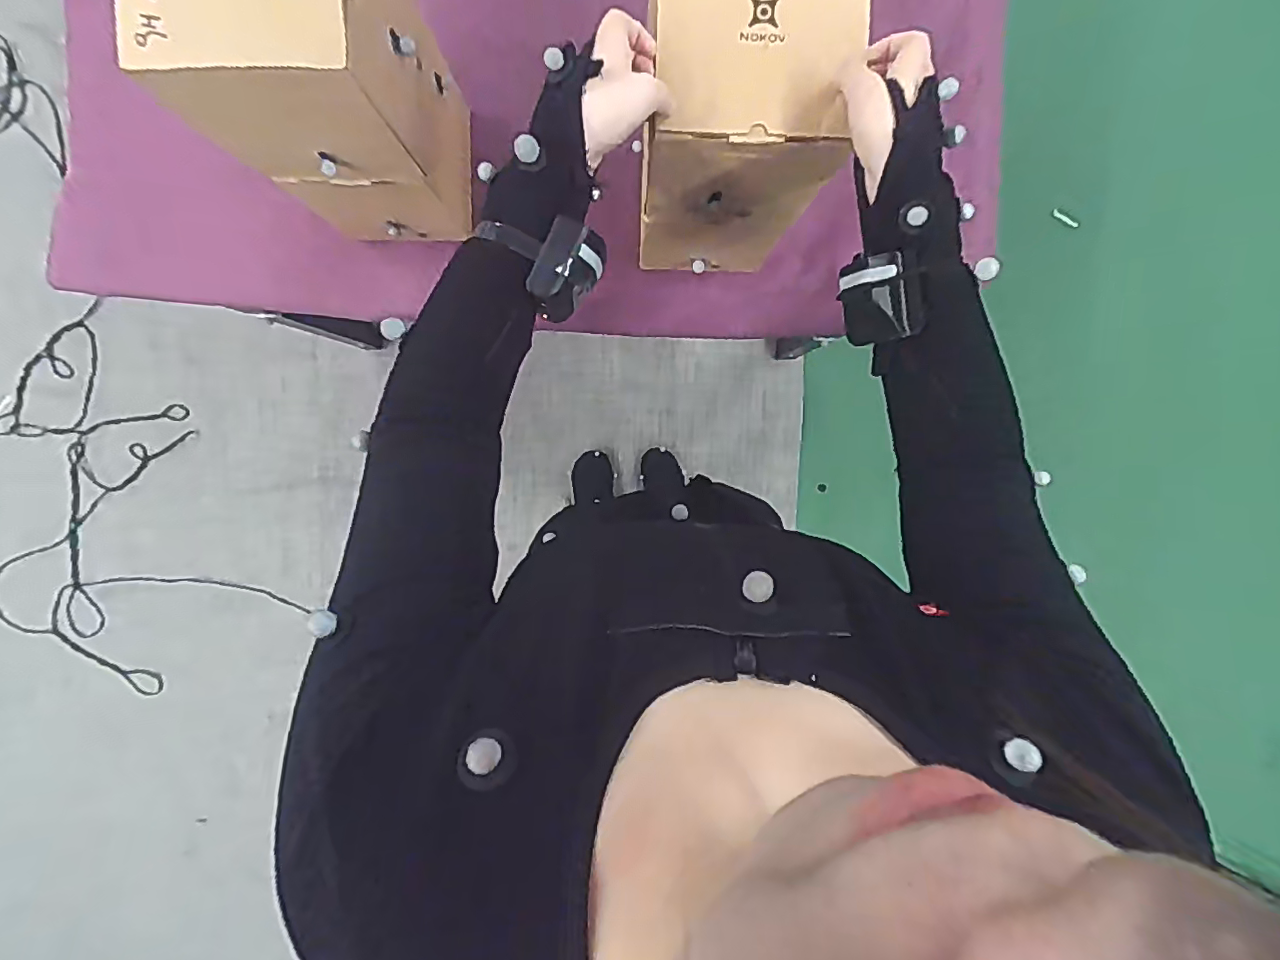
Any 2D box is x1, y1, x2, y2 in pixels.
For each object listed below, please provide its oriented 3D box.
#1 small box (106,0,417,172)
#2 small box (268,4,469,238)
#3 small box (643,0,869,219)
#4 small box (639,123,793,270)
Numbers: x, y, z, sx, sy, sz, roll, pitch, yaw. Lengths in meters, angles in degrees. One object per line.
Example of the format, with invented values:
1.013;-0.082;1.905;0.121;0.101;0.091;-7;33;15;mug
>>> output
-0.309;-0.397;0.478;0.179;0.176;0.168;0;94;-1;small box
-0.309;-0.410;0.641;0.168;0.176;0.179;0;94;0;small box
0.089;-0.360;0.486;0.168;0.176;0.179;1;96;-1;small box
0.084;-0.370;0.649;0.168;0.176;0.179;2;95;0;small box
